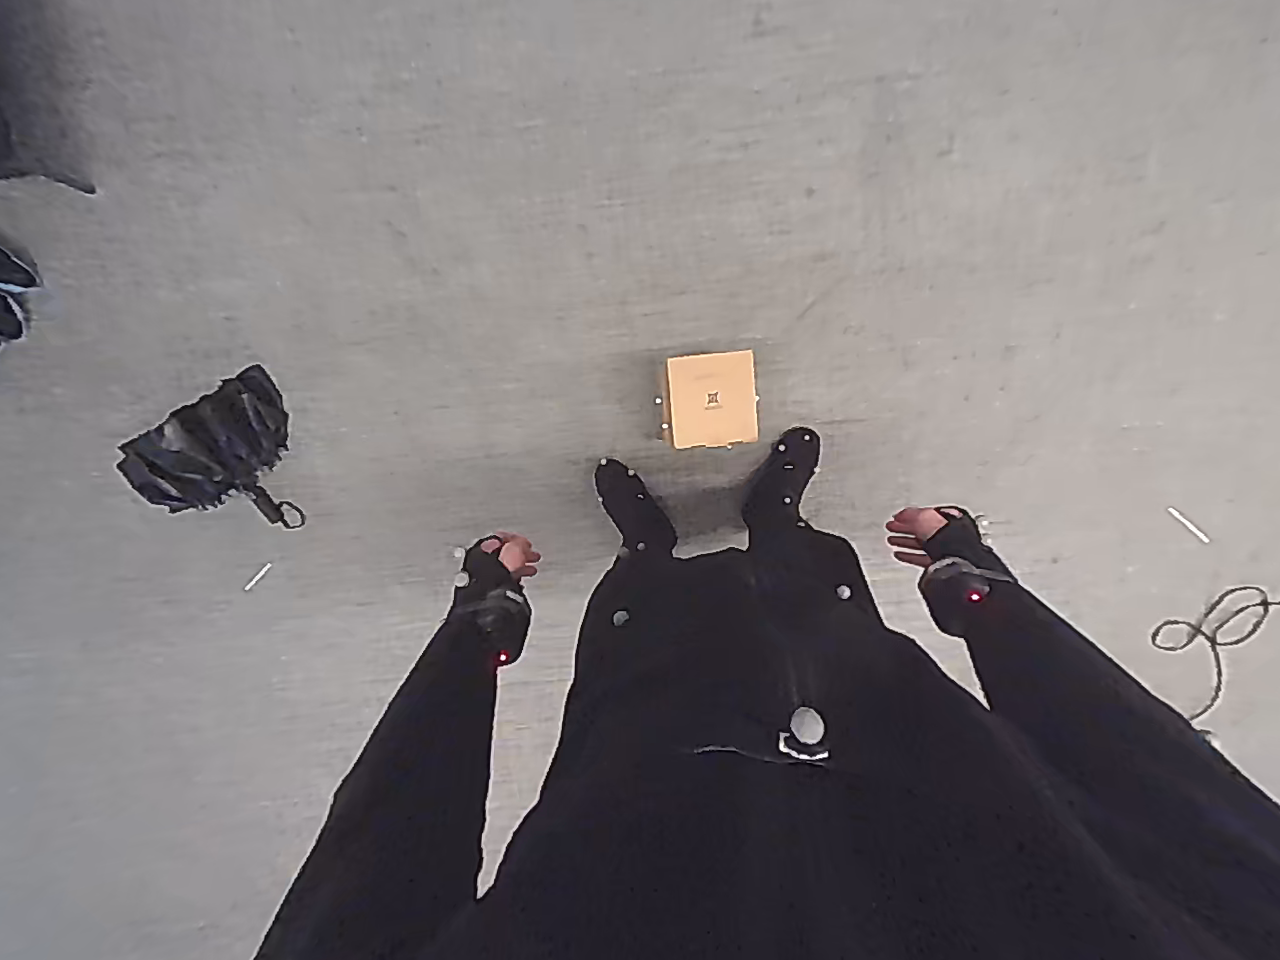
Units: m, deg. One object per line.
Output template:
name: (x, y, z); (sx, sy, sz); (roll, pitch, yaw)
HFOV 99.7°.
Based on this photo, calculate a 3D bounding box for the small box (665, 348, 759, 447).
small box: (0.142, -0.167, 1.109); (0.168, 0.176, 0.179); (-6, 97, 1)
